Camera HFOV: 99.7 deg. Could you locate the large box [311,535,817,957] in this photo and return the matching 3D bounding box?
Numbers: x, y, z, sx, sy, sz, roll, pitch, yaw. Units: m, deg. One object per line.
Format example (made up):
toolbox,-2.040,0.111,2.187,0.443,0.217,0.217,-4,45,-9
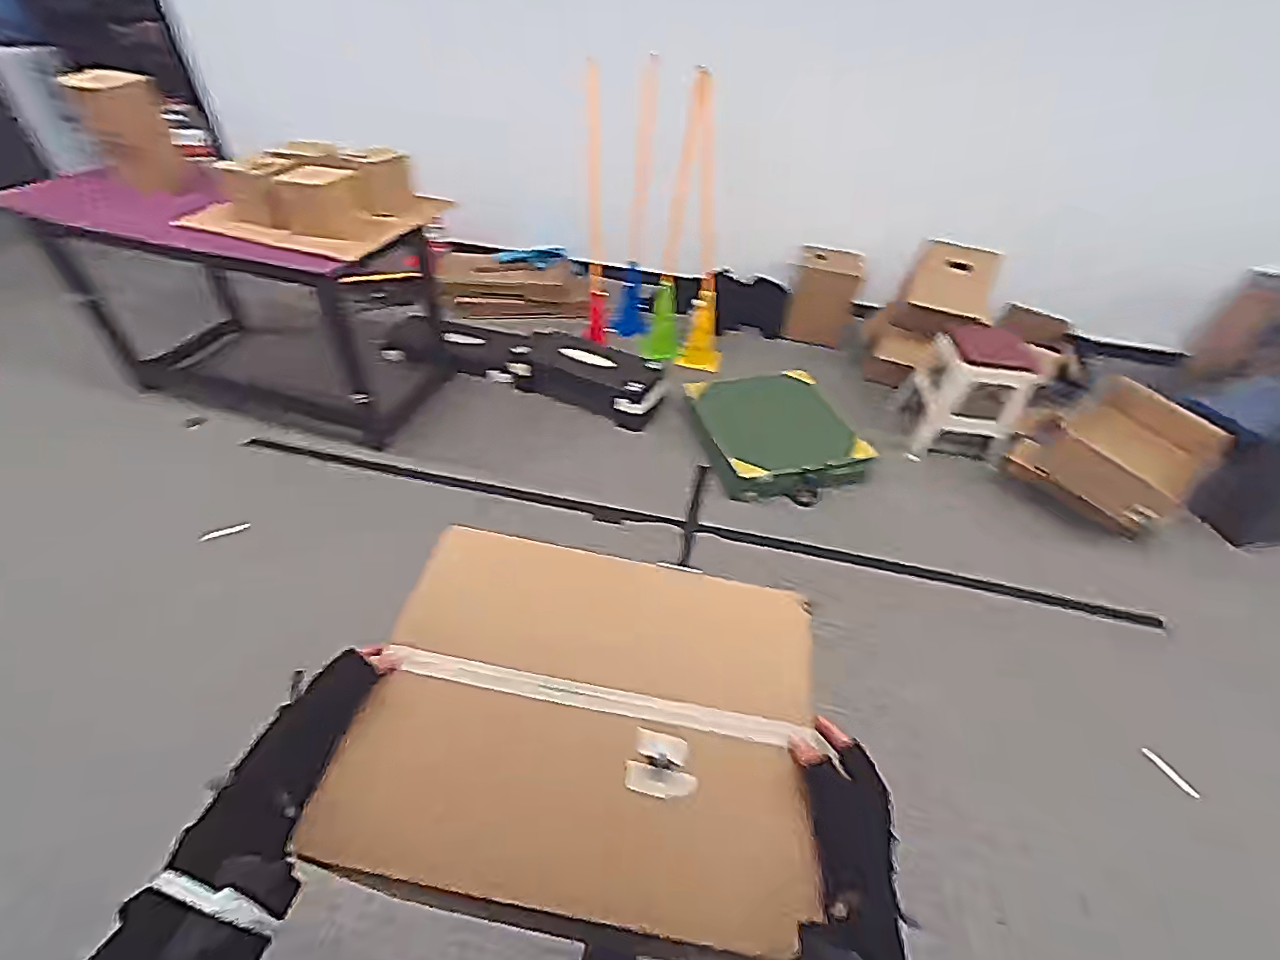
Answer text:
large box,-0.058,0.306,0.619,0.408,0.320,0.320,11,48,1
